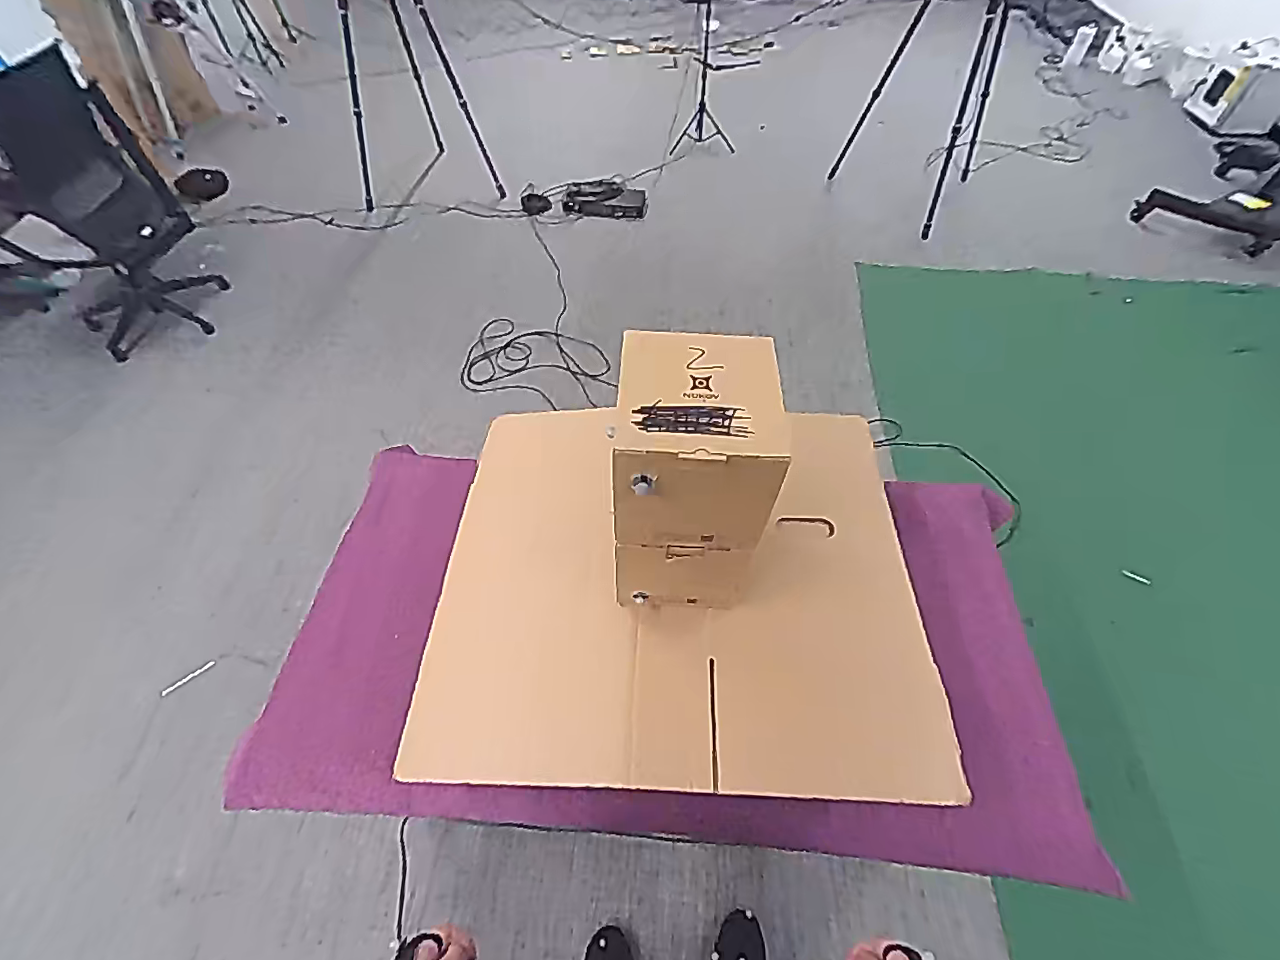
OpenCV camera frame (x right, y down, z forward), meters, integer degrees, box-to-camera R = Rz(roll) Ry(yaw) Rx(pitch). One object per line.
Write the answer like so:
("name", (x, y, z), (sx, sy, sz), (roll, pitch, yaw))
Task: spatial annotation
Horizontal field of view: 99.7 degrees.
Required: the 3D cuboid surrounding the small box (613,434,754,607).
("small box", (0.053, 0.059, 0.732), (0.168, 0.176, 0.179), (3, 53, 0))
